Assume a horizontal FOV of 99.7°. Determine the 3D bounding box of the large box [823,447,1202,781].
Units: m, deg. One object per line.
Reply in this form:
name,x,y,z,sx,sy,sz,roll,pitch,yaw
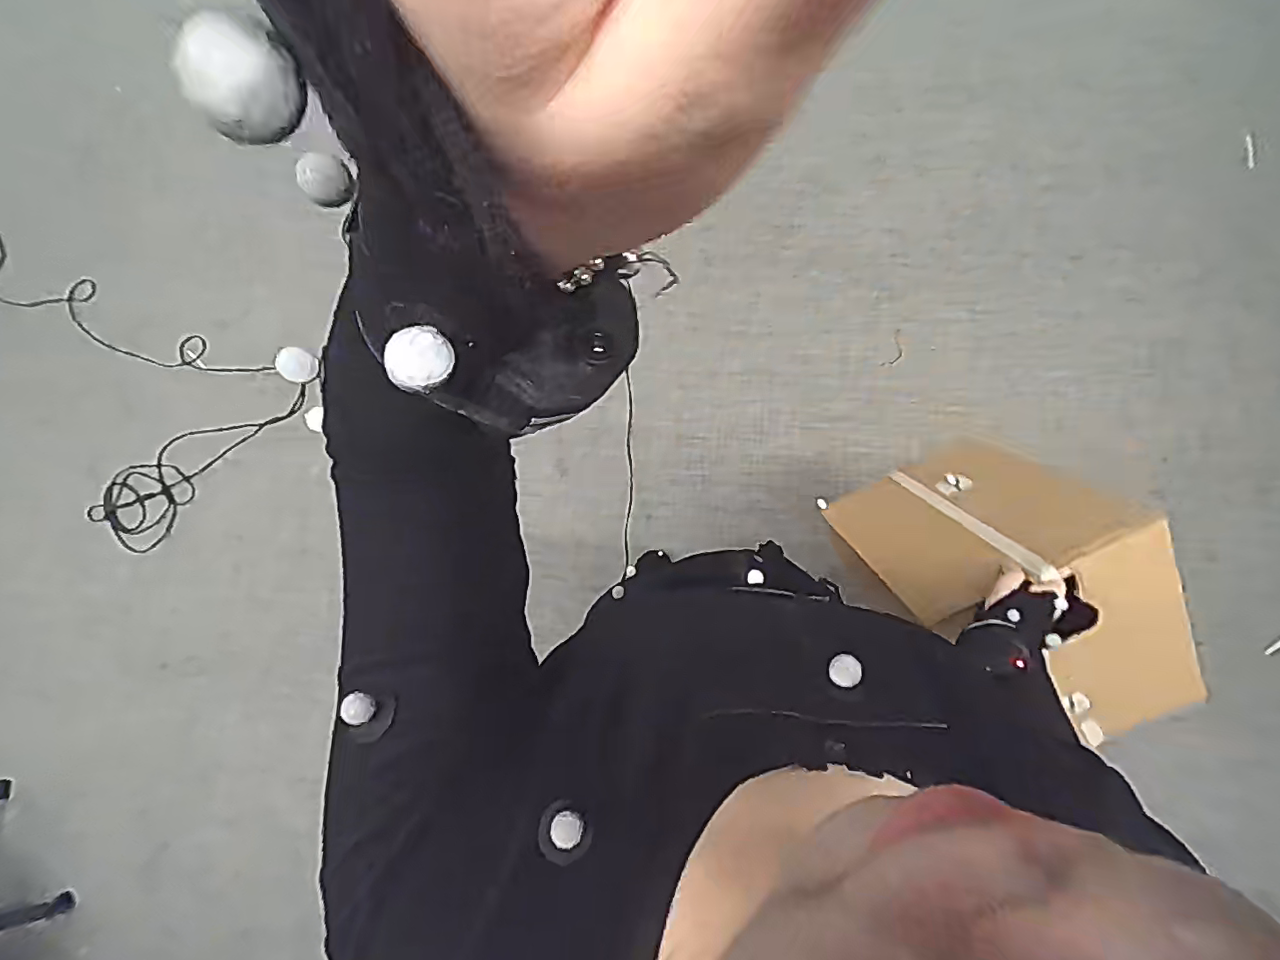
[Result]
large box,0.569,0.189,0.904,0.320,0.408,0.320,-26,106,8
